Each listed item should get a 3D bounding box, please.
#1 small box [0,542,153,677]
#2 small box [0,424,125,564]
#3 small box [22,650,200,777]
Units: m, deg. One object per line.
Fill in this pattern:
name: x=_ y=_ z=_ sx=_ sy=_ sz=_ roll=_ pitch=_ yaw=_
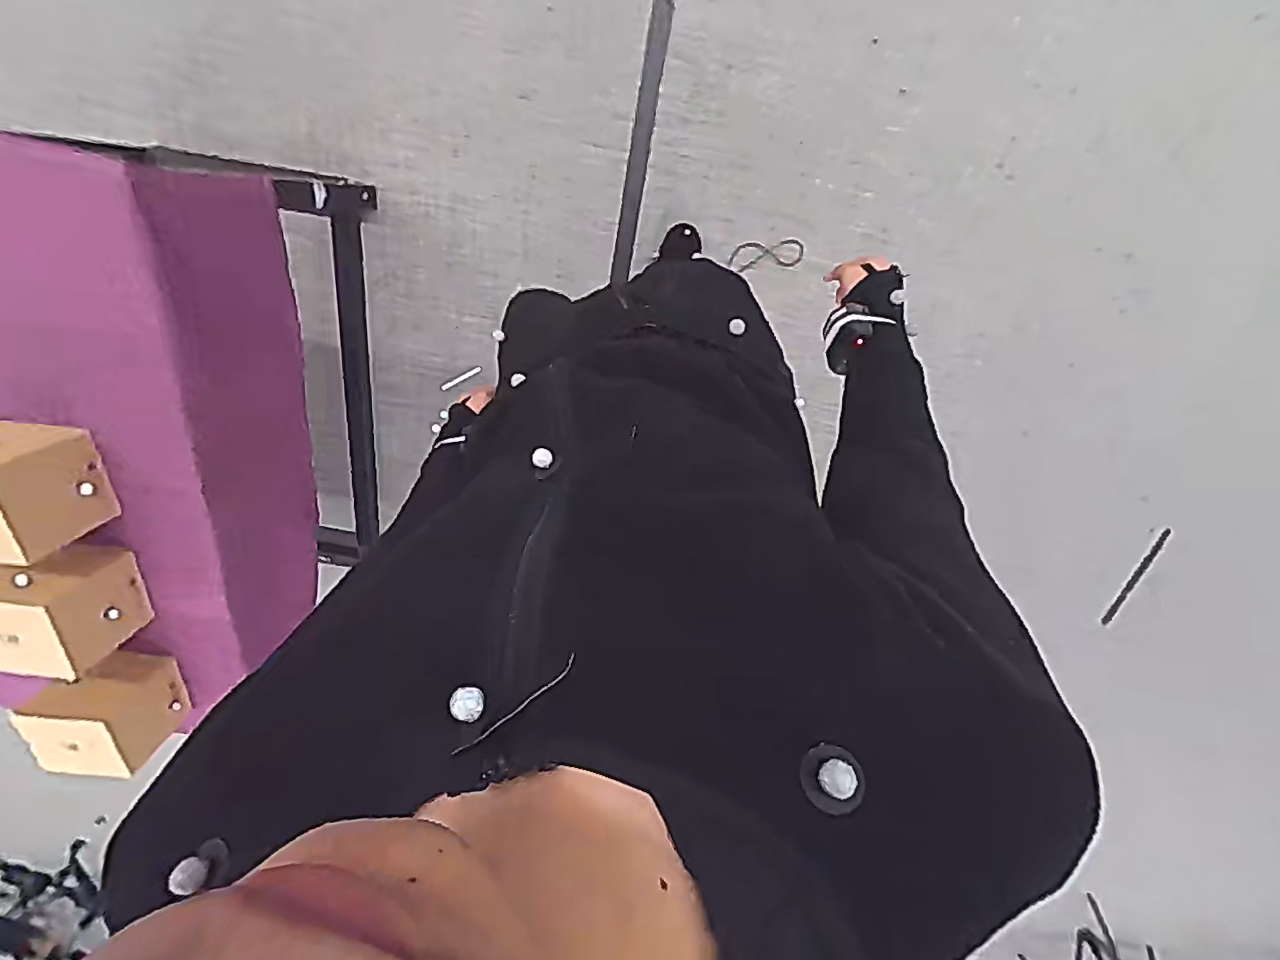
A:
small box: x=-1.051 y=0.230 z=0.991 sx=0.179 sy=0.176 sz=0.168 roll=8 pitch=117 yaw=-1
small box: x=-1.020 y=0.016 z=0.883 sx=0.179 sy=0.176 sz=0.168 roll=5 pitch=117 yaw=0
small box: x=-1.073 y=0.474 z=1.115 sx=0.179 sy=0.176 sz=0.168 roll=6 pitch=117 yaw=0
